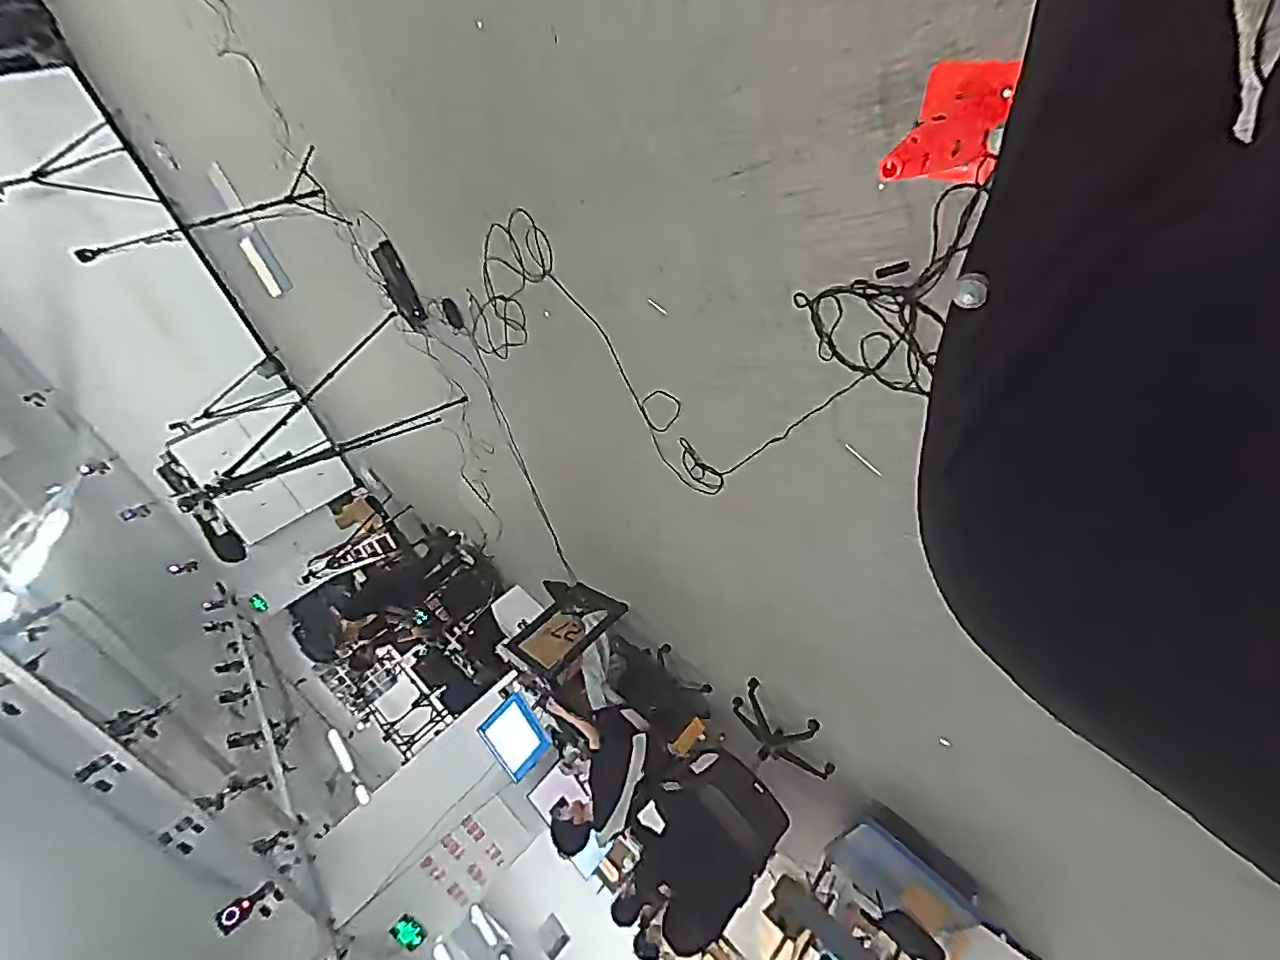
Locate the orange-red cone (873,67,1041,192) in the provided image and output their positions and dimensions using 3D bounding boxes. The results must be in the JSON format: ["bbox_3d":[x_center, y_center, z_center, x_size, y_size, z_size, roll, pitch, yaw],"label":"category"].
[{"bbox_3d":[0.522,-0.600,0.975,0.199,0.360,0.198,34,144,33],"label":"orange-red cone"}]
